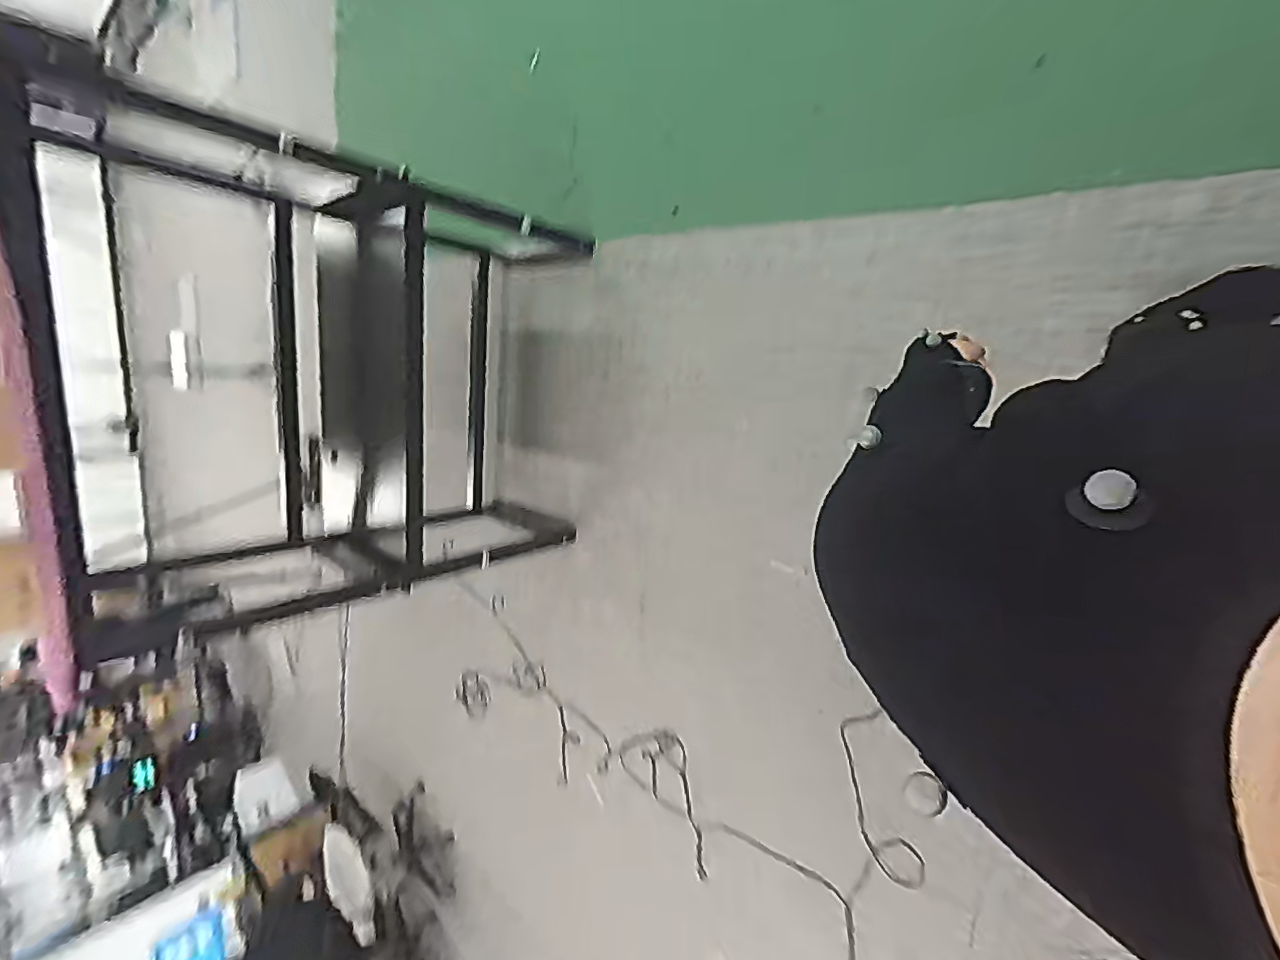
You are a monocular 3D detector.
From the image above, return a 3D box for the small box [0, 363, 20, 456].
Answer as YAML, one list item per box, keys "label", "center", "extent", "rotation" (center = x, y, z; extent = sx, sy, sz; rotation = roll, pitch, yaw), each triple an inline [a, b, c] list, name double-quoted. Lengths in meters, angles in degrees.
- label: "small box"
  center: [-1.283, -0.136, 0.990]
  extent: [0.168, 0.176, 0.179]
  rotation: [13, 105, 38]

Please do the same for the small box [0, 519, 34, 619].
- label: "small box"
  center: [-1.309, 0.179, 1.046]
  extent: [0.179, 0.176, 0.168]
  rotation: [13, 102, 37]
